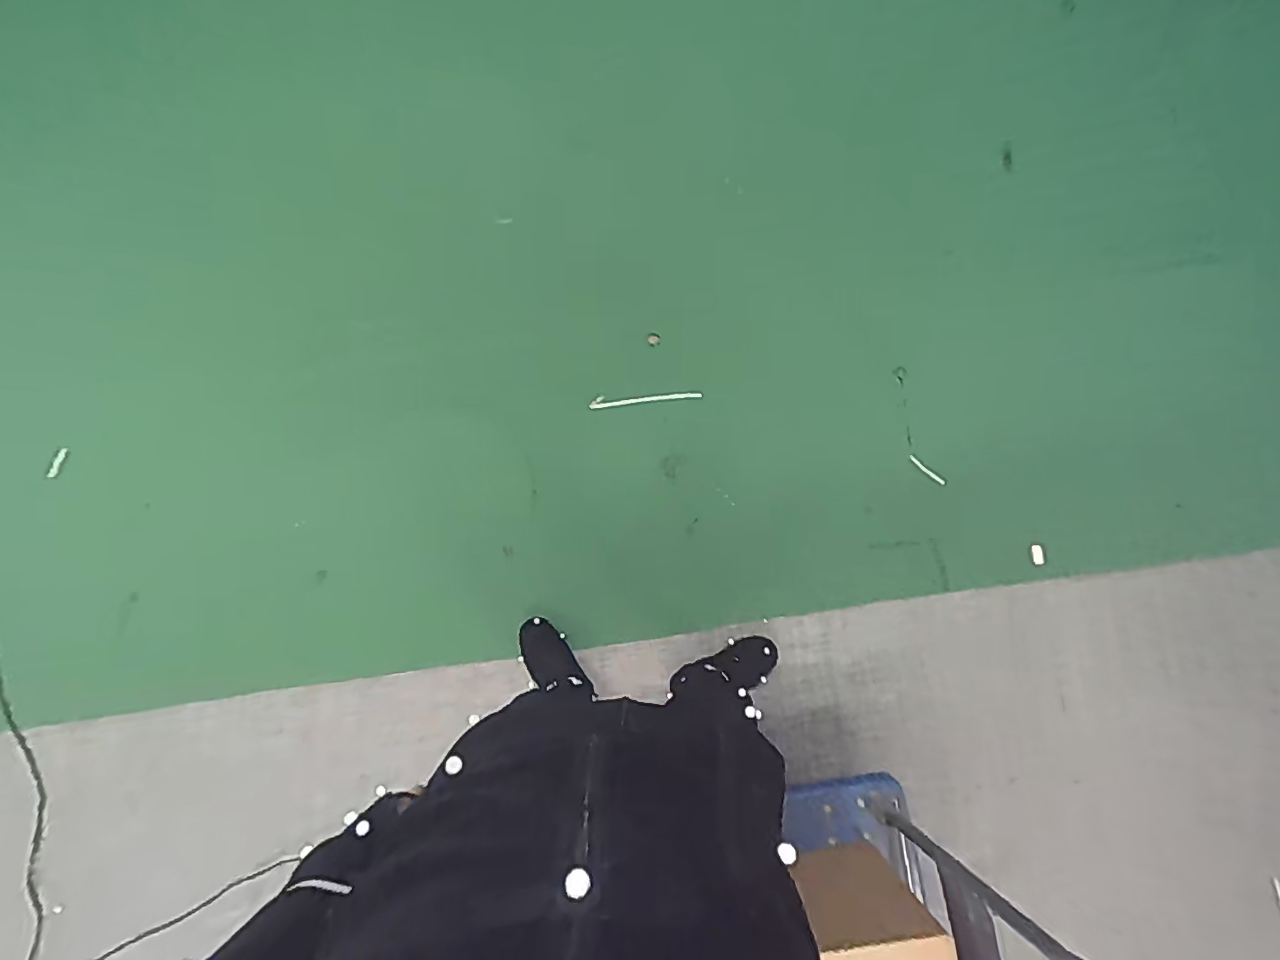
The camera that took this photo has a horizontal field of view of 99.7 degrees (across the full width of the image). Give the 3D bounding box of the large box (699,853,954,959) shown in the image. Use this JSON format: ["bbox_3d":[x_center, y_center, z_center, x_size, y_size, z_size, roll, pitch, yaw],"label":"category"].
[{"bbox_3d":[0.344,0.975,1.025,0.408,0.320,0.320,-6,81,-2],"label":"large box"}]
